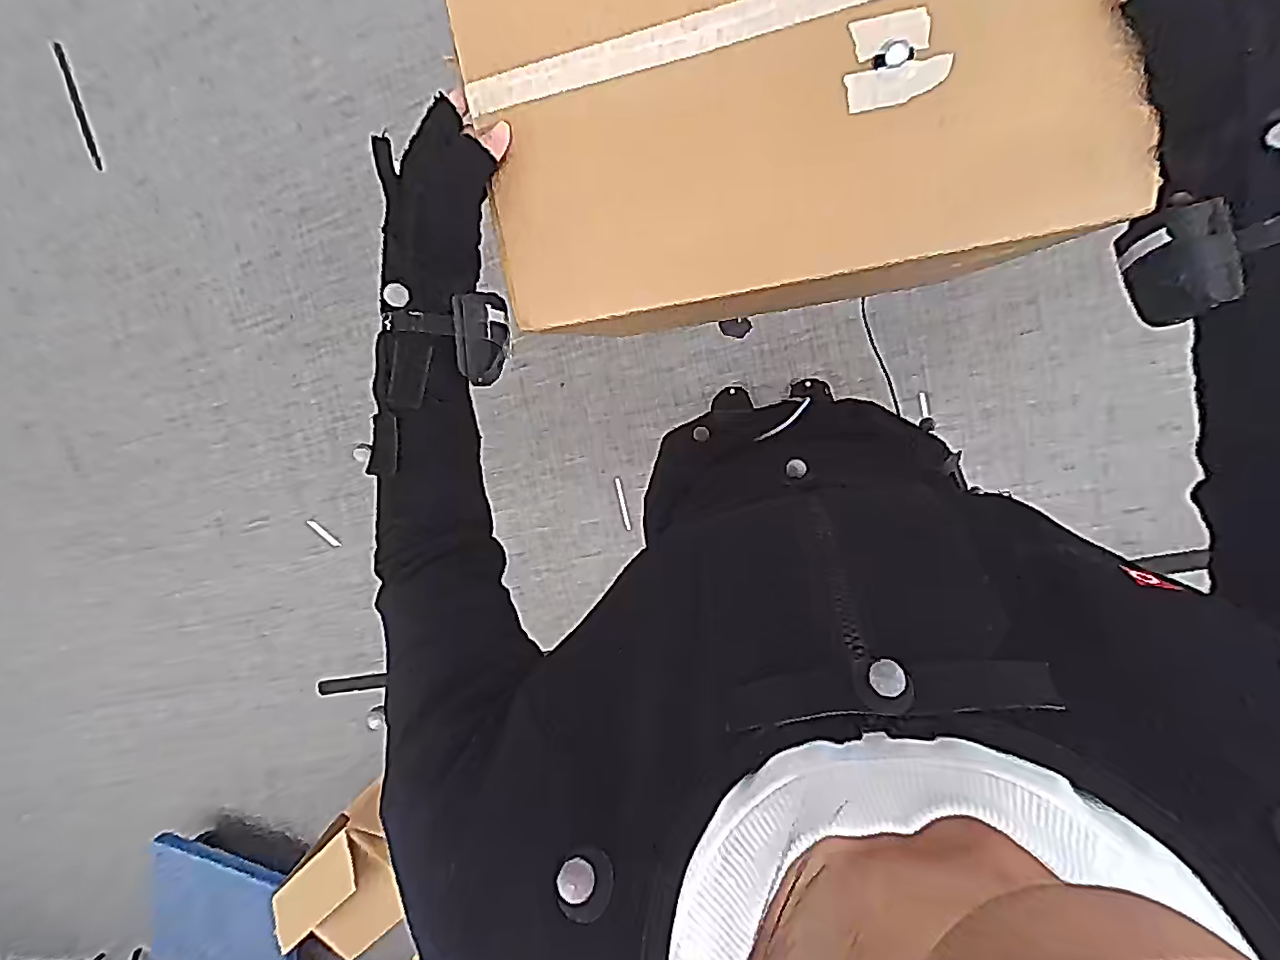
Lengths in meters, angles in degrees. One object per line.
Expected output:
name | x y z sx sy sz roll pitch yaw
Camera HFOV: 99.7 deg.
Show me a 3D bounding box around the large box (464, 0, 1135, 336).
large box | 0.107 -0.325 0.484 0.408 0.320 0.320 -7 103 12
